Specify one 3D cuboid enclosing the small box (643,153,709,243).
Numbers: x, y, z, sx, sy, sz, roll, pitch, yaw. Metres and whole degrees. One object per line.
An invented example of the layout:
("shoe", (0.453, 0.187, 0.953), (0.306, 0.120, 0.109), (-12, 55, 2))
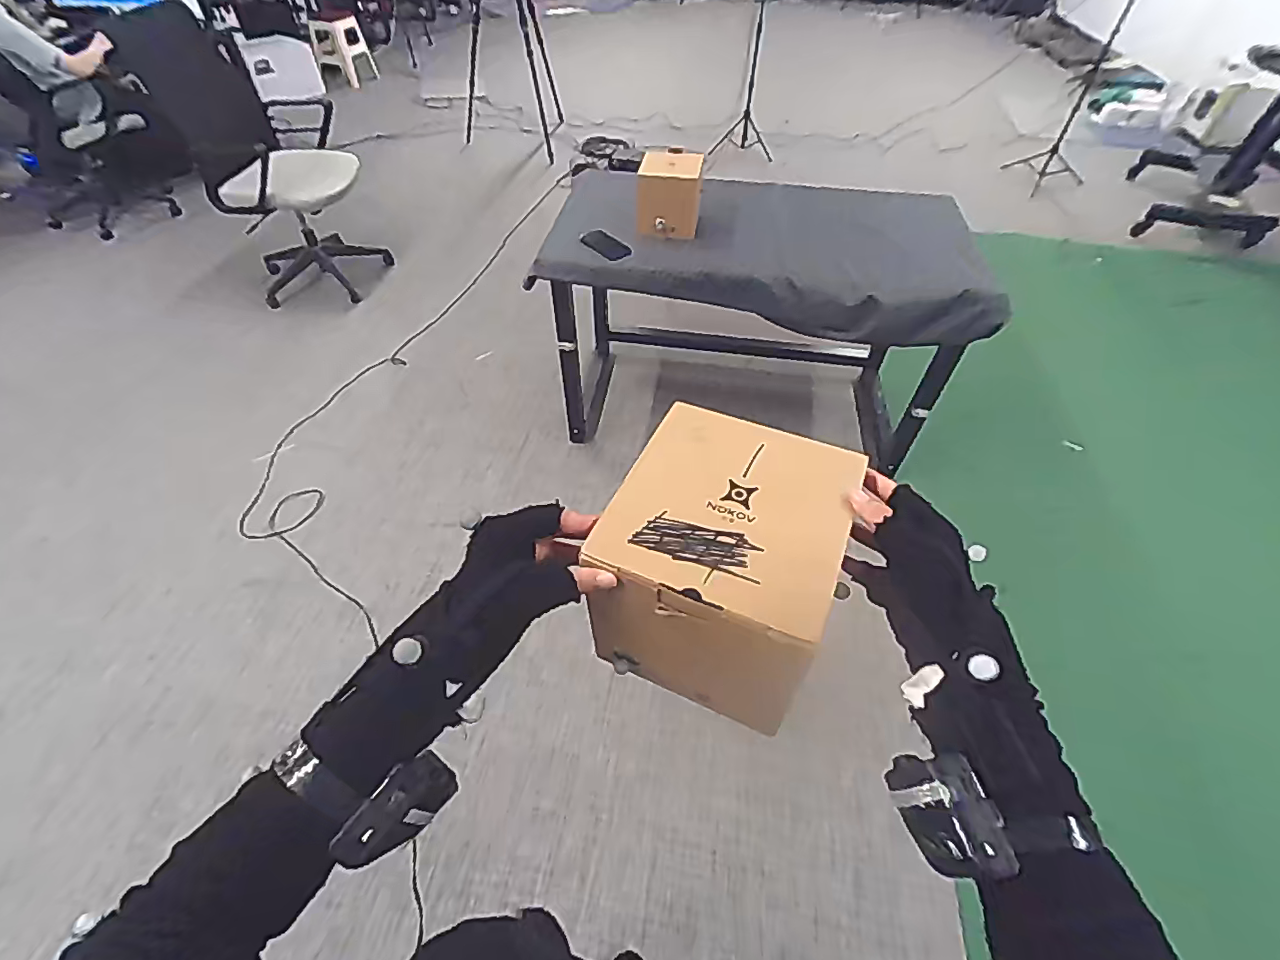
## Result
("small box", (0.100, -0.800, 1.534), (0.168, 0.176, 0.179), (7, 51, 6))
